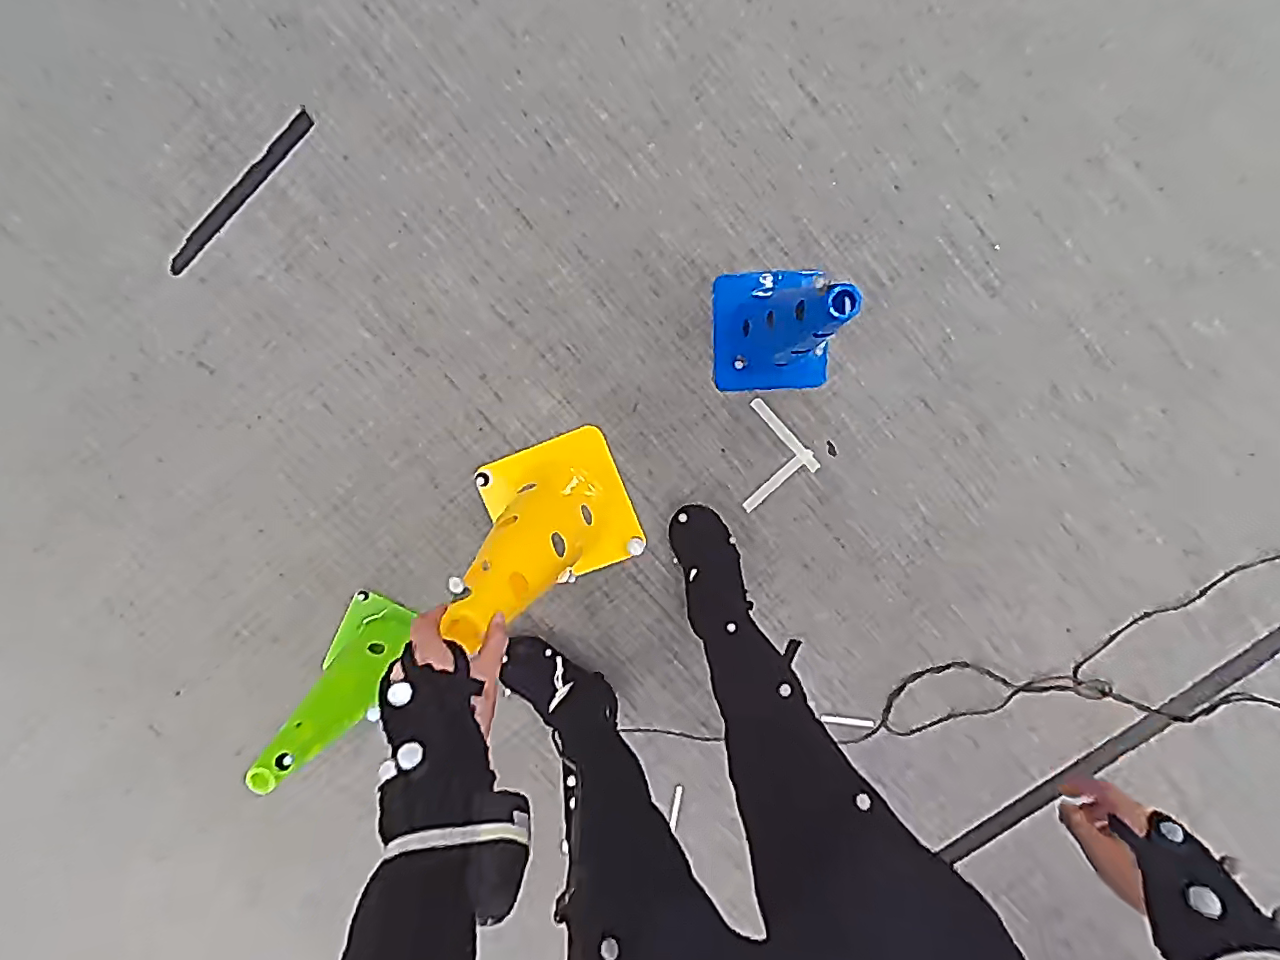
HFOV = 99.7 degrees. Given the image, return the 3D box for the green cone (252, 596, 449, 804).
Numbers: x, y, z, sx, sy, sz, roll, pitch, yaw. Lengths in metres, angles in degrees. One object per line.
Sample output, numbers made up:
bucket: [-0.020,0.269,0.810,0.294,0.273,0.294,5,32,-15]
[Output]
green cone: [-0.493,0.374,0.880,0.202,0.368,0.200,27,100,-5]
